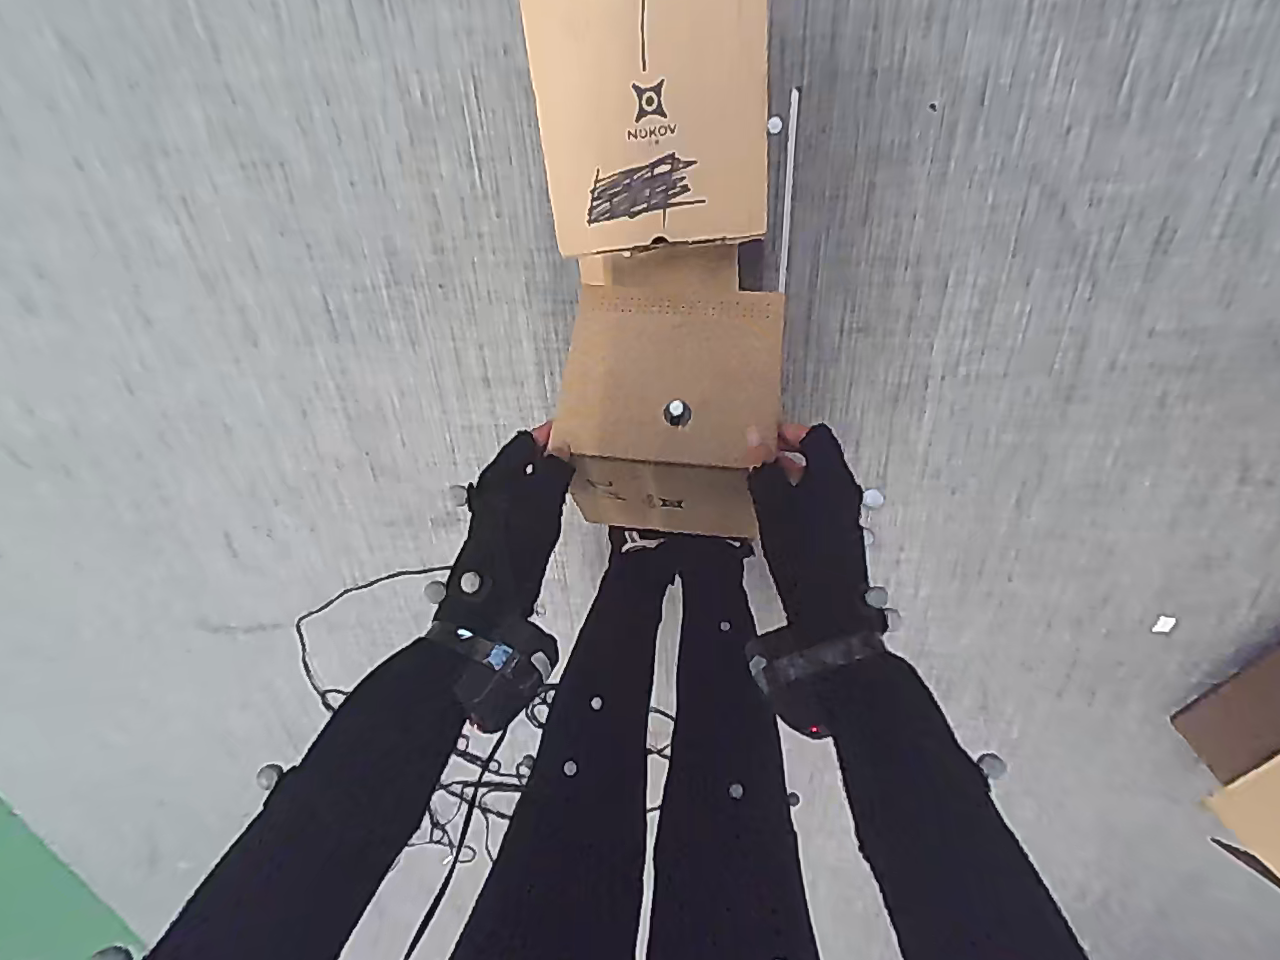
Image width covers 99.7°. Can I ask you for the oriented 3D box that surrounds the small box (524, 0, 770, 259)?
[{"bbox_3d":[0.020,-0.293,0.456,0.168,0.176,0.179,-1,116,10],"label":"small box"}]

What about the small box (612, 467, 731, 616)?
[{"bbox_3d":[0.042,0.097,0.880,0.168,0.176,0.179,2,121,-4],"label":"small box"}]
